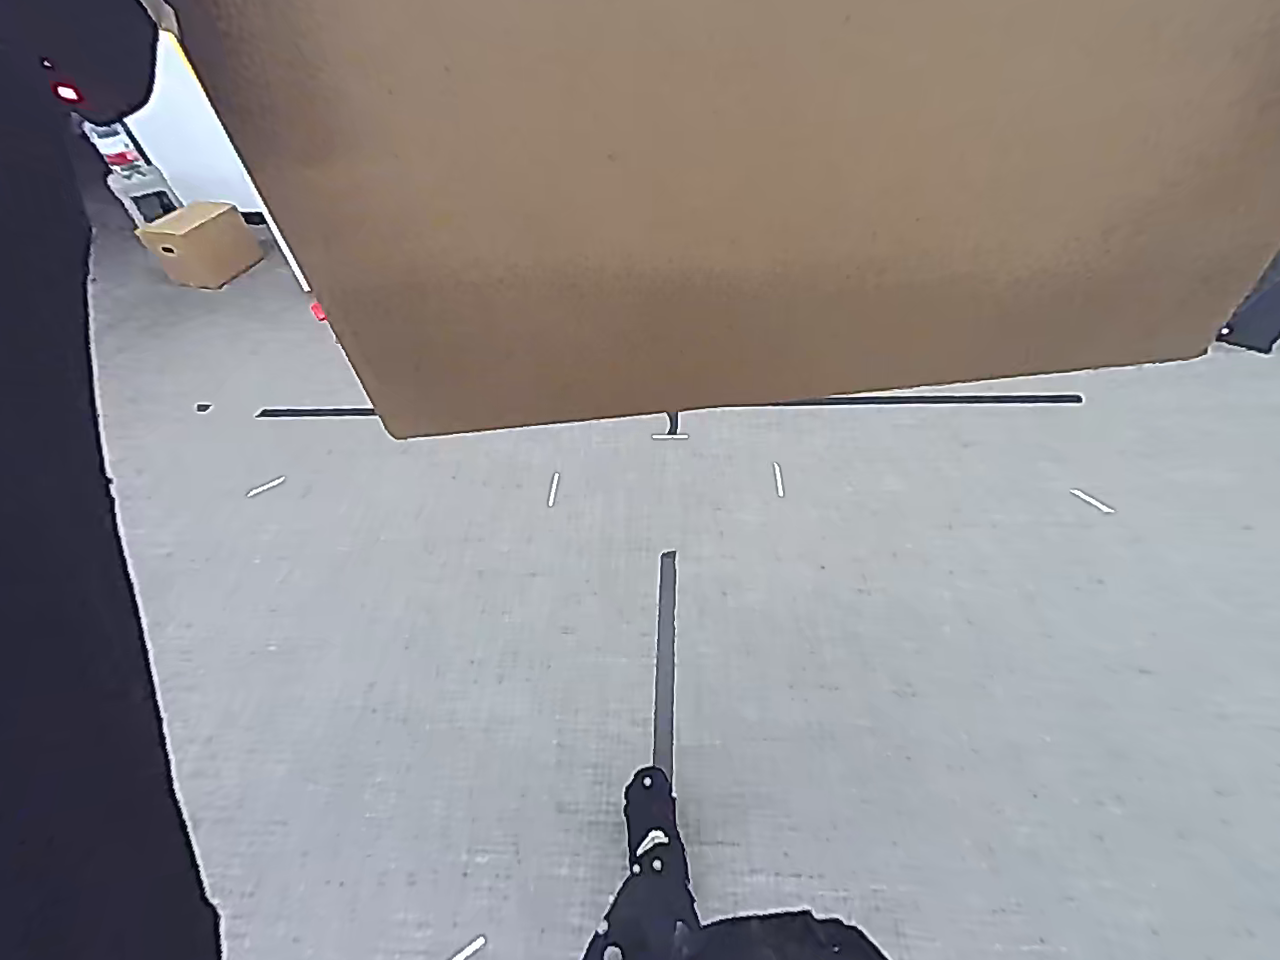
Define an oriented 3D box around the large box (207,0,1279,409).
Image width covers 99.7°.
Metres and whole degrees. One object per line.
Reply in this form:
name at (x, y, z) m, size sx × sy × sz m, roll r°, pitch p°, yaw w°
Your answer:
large box at (0.049, -0.262, 0.281) m, size 0.408 × 0.320 × 0.320 m, roll -5°, pitch 45°, yaw 0°
